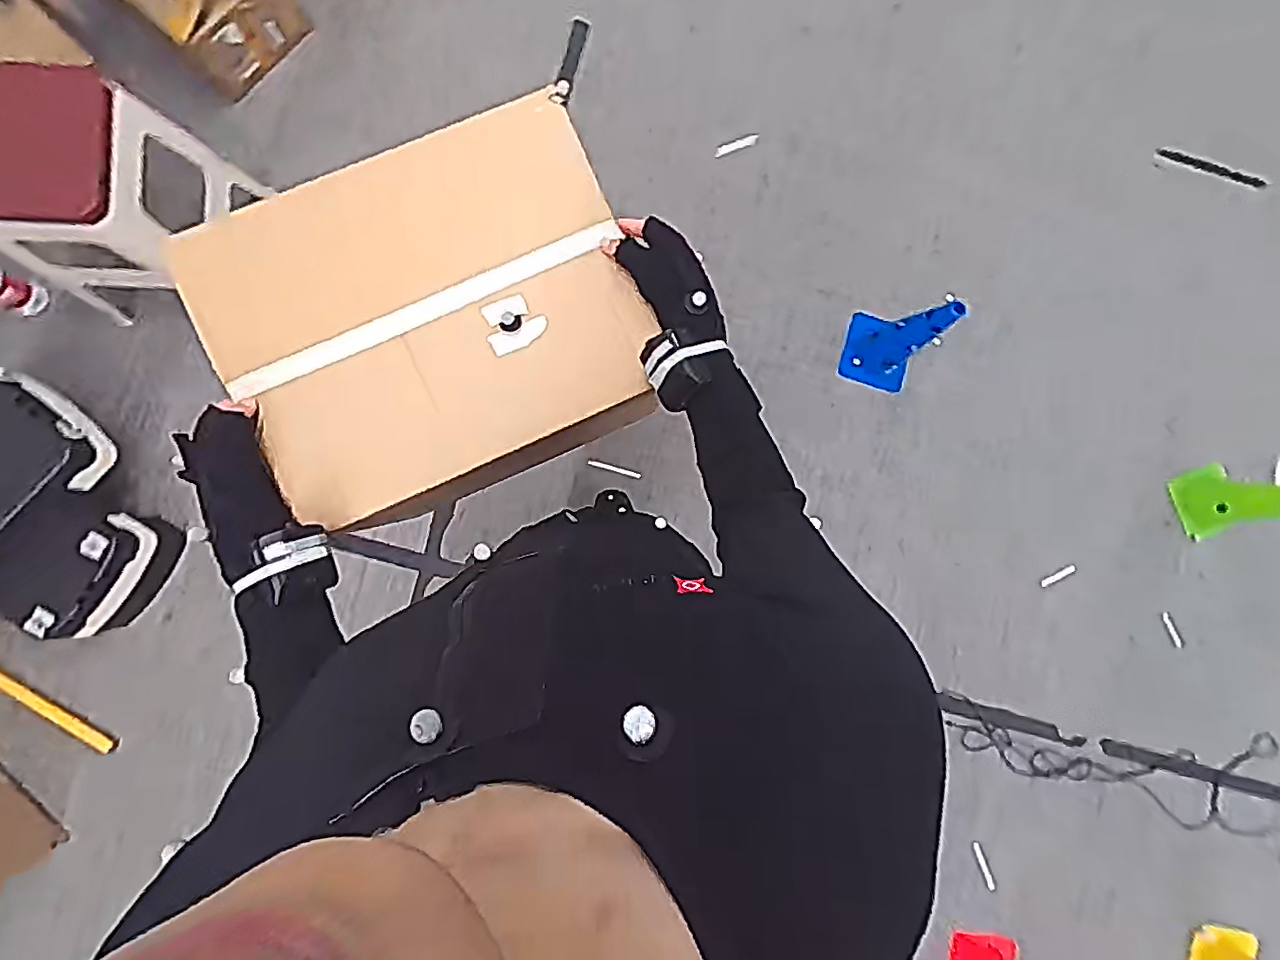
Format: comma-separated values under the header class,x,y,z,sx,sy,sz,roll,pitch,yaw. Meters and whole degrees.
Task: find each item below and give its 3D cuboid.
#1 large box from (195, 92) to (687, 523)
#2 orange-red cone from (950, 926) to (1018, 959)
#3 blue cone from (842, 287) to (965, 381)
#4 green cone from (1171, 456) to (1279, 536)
class,x,y,z,sx,sy,sz,roll,pitch,yaw
large box,-0.202,-0.171,0.682,0.408,0.320,0.320,-24,92,-4
orange-red cone,0.982,1.363,1.356,0.199,0.360,0.198,13,87,-6
blue cone,0.710,-0.405,1.423,0.193,0.380,0.192,19,85,-4
green cone,1.751,0.037,1.478,0.200,0.368,0.202,-22,88,-6
